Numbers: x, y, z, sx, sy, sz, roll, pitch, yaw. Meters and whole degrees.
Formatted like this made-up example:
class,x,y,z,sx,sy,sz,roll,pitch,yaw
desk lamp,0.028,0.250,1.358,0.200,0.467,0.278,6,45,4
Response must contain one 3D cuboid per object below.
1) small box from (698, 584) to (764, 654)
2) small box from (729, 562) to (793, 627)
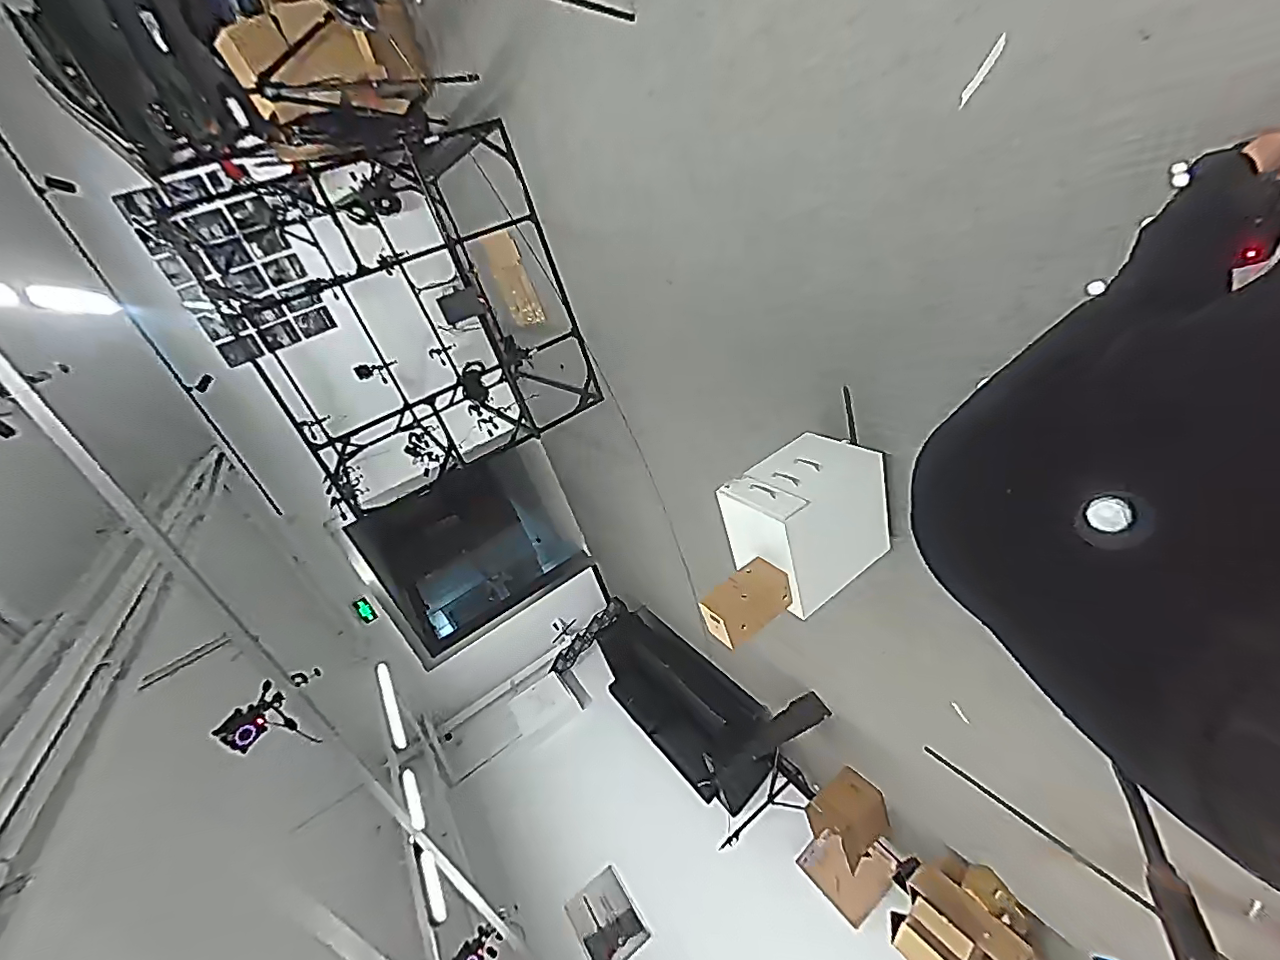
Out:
class,x,y,z,sx,sy,sz,roll,pitch,yaw
small box,0.364,0.545,2.147,0.168,0.176,0.179,27,145,57
small box,0.494,0.460,2.201,0.179,0.176,0.168,30,146,53
